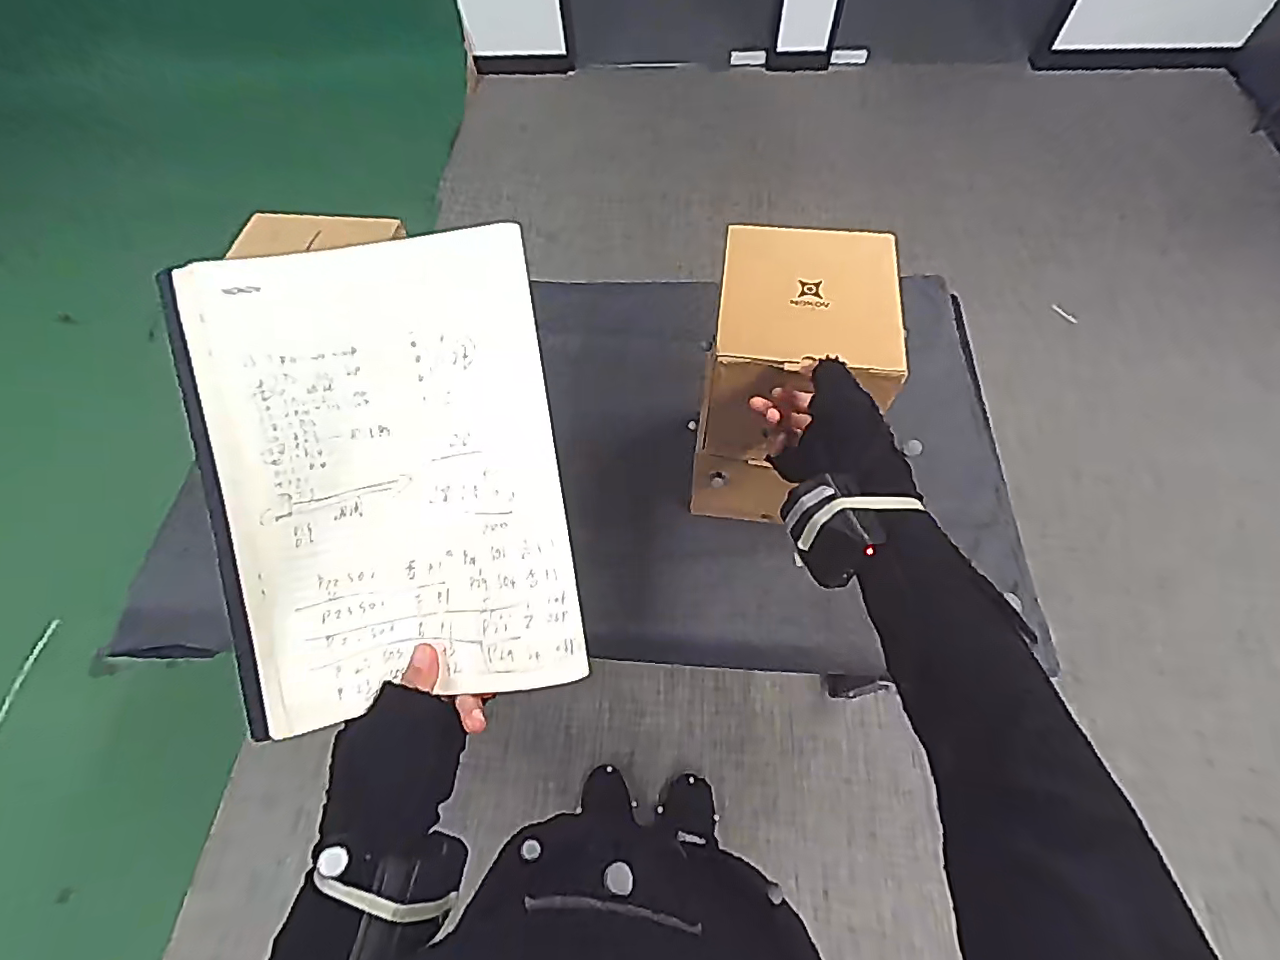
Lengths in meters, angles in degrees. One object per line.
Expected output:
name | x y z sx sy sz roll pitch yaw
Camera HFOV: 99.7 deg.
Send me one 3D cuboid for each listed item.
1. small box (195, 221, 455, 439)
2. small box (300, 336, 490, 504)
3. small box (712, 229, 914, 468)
small box | -0.332 -0.163 0.617 0.168 0.176 0.179 5 62 5
small box | -0.323 -0.084 0.760 0.168 0.176 0.179 3 62 5
small box | 0.169 -0.135 0.579 0.168 0.176 0.179 6 63 6
